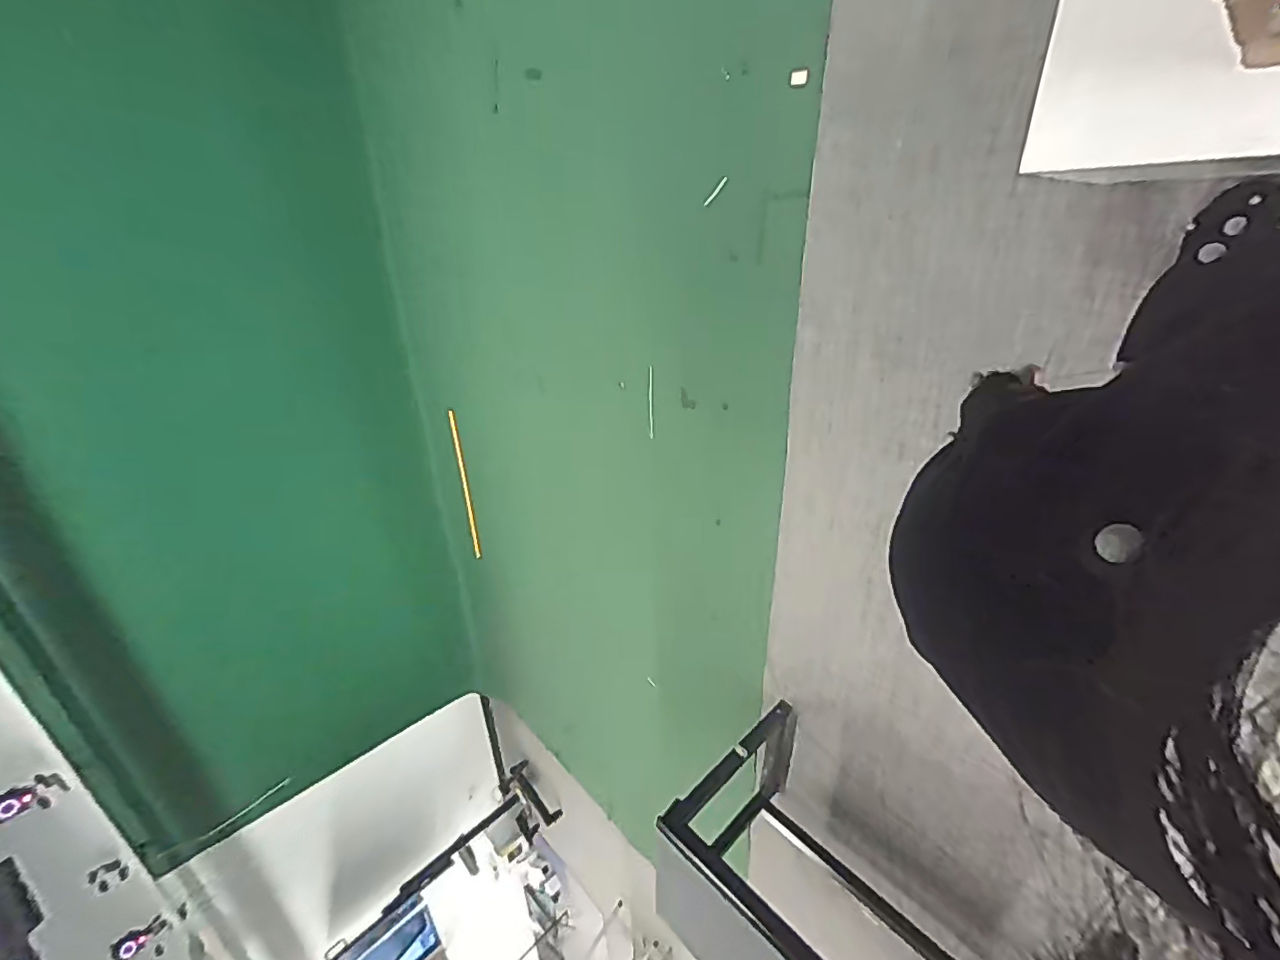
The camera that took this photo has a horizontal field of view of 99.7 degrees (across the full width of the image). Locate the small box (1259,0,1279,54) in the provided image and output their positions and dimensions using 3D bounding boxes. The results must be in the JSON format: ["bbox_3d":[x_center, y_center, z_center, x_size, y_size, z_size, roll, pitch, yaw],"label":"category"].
[{"bbox_3d":[0.616,-0.452,0.401,0.168,0.176,0.179,25,126,41],"label":"small box"}]
